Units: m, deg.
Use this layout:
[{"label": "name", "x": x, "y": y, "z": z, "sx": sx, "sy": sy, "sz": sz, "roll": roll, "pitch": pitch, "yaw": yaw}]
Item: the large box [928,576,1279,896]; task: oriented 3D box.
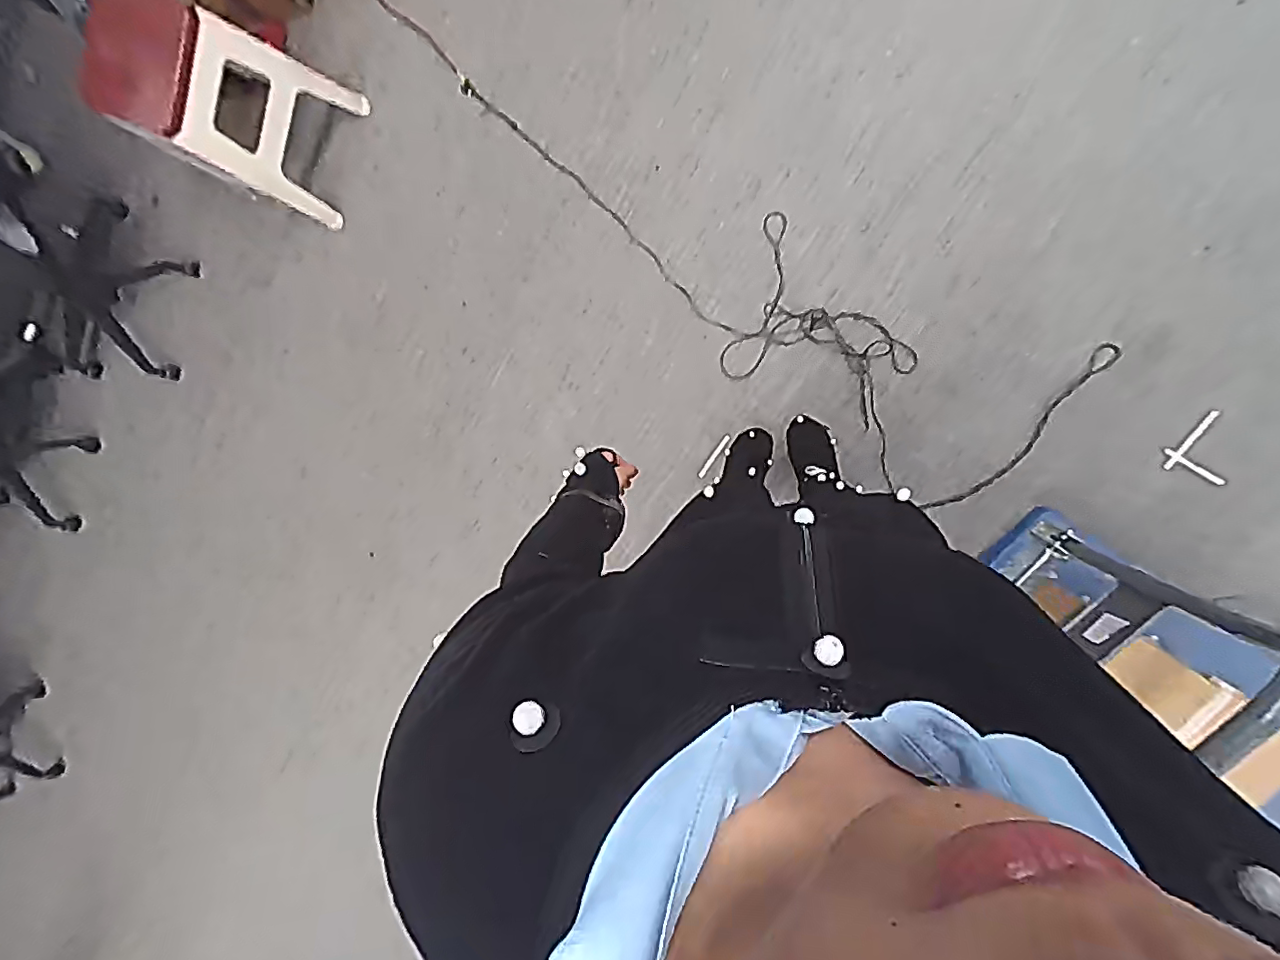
[{"label": "large box", "x": 0.861, "y": 0.469, "z": 1.067, "sx": 0.320, "sy": 0.320, "sz": 0.408, "roll": 34, "pitch": 105, "yaw": 9}]
